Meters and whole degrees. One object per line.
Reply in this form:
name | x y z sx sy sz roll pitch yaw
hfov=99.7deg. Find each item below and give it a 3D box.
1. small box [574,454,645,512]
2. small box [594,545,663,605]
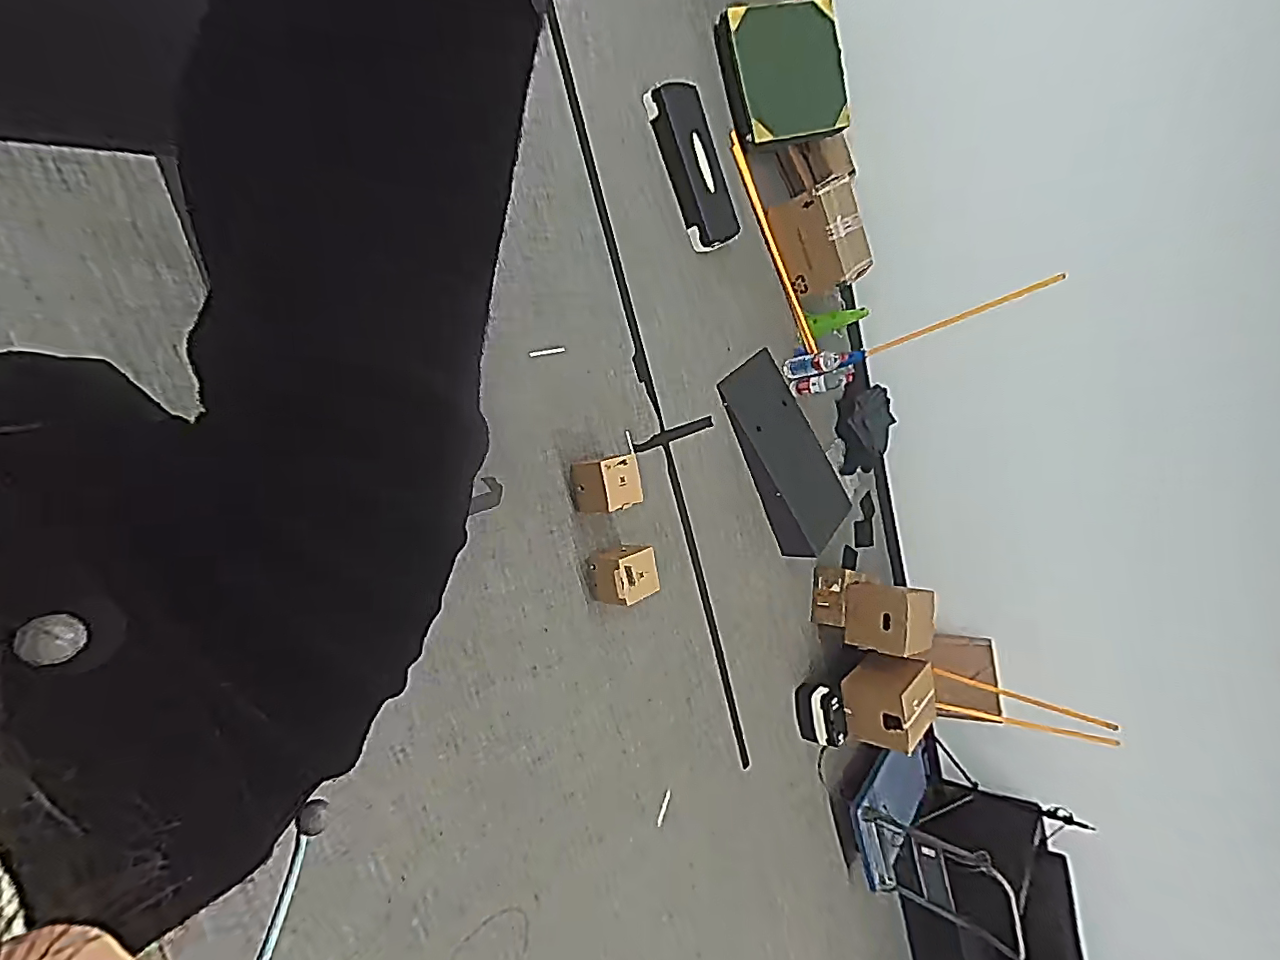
small box | -0.110 0.010 1.898 0.168 0.176 0.179 -16 99 -43
small box | -0.047 0.334 1.936 0.179 0.176 0.168 -16 98 -44
